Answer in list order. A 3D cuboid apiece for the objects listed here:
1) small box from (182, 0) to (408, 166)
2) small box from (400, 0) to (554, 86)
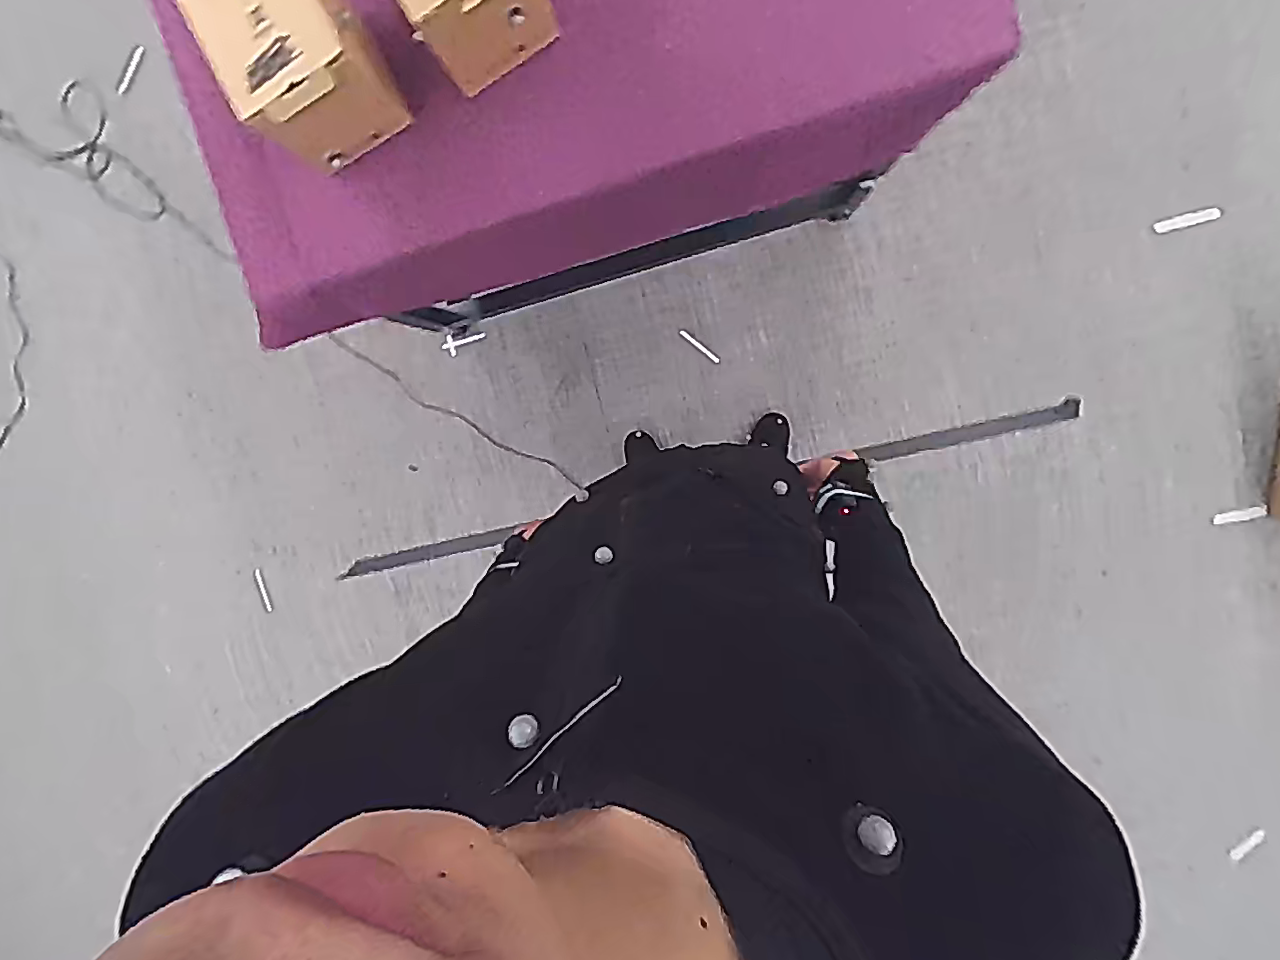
[{"bbox_3d":[-0.466,-0.580,0.761,0.168,0.176,0.179,-26,94,9],"label":"small box"},{"bbox_3d":[-0.237,-0.680,0.725,0.168,0.176,0.179,-28,94,8],"label":"small box"}]
